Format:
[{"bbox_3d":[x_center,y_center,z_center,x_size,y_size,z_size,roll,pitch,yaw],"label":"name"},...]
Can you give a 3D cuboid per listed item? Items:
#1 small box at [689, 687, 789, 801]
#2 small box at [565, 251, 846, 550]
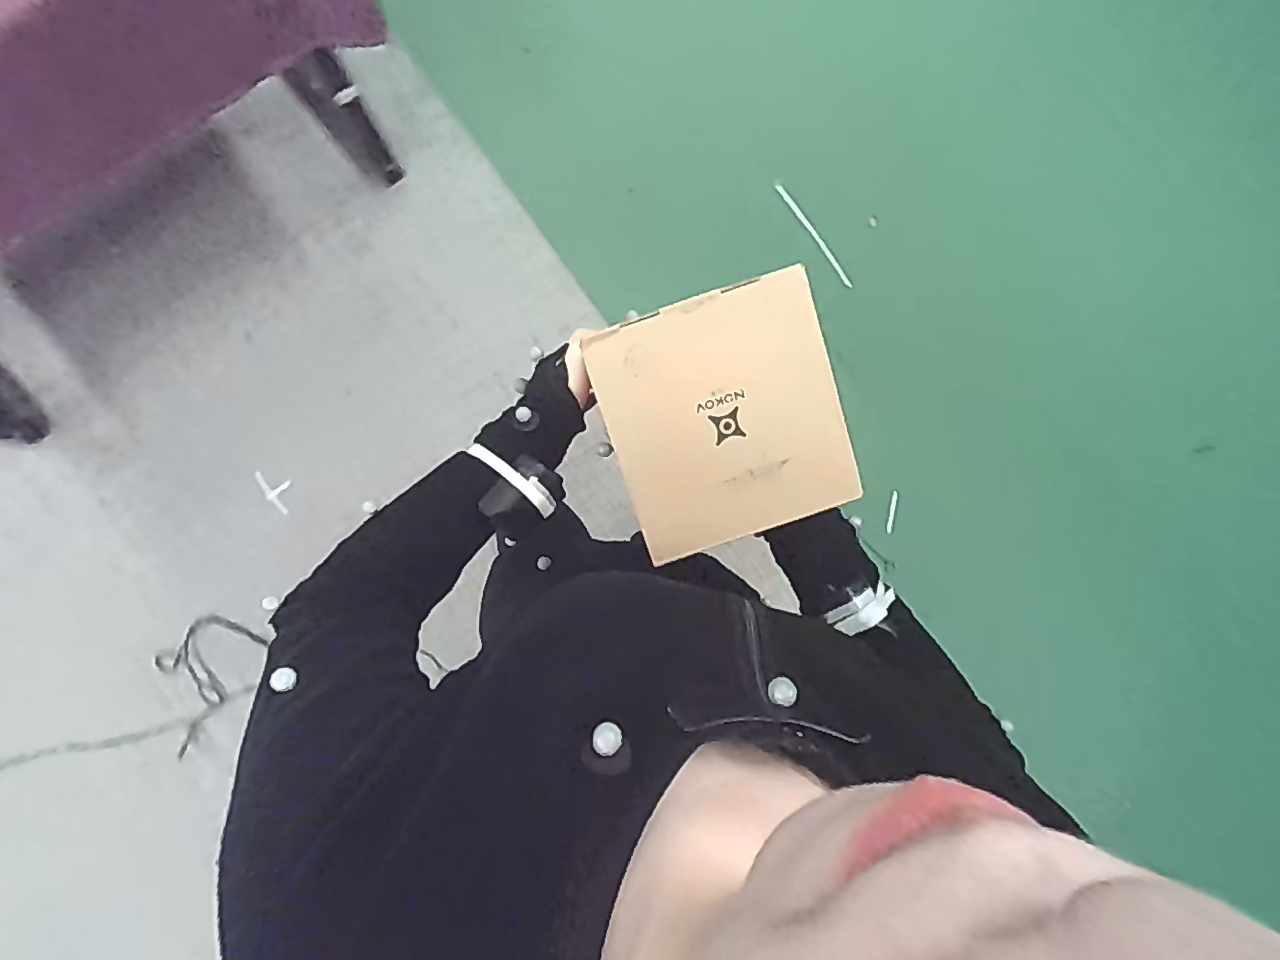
[{"bbox_3d":[0.248,0.679,1.415,0.168,0.176,0.179,42,85,-2],"label":"small box"},{"bbox_3d":[0.045,-0.065,0.463,0.168,0.176,0.179,-19,100,1],"label":"small box"}]
